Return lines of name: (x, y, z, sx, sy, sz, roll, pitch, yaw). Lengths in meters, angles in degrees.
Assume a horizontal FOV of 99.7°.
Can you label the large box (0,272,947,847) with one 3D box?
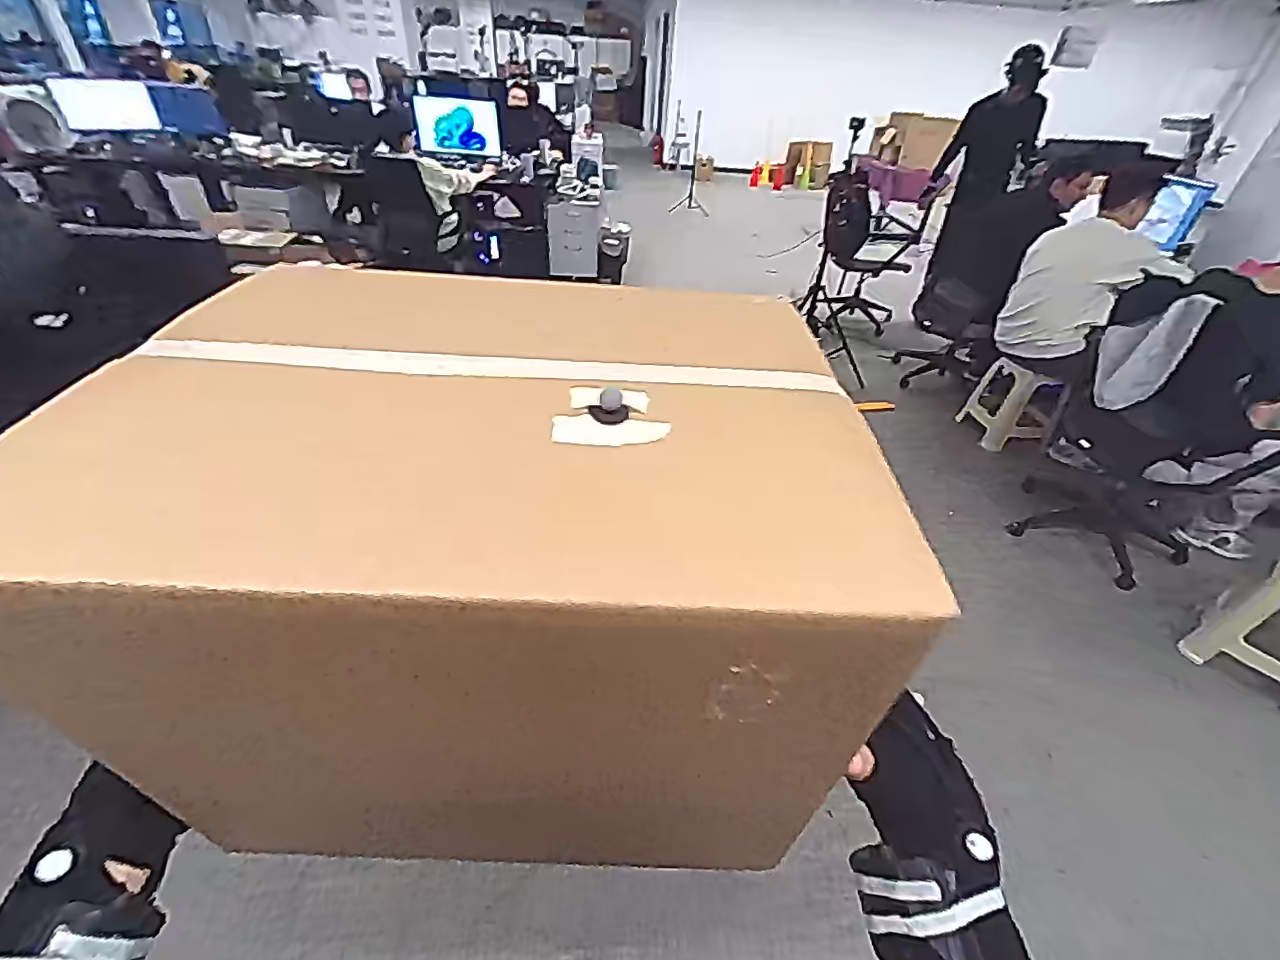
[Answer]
large box: (-0.080, 0.057, 0.420, 0.408, 0.320, 0.320, 4, 41, -2)
